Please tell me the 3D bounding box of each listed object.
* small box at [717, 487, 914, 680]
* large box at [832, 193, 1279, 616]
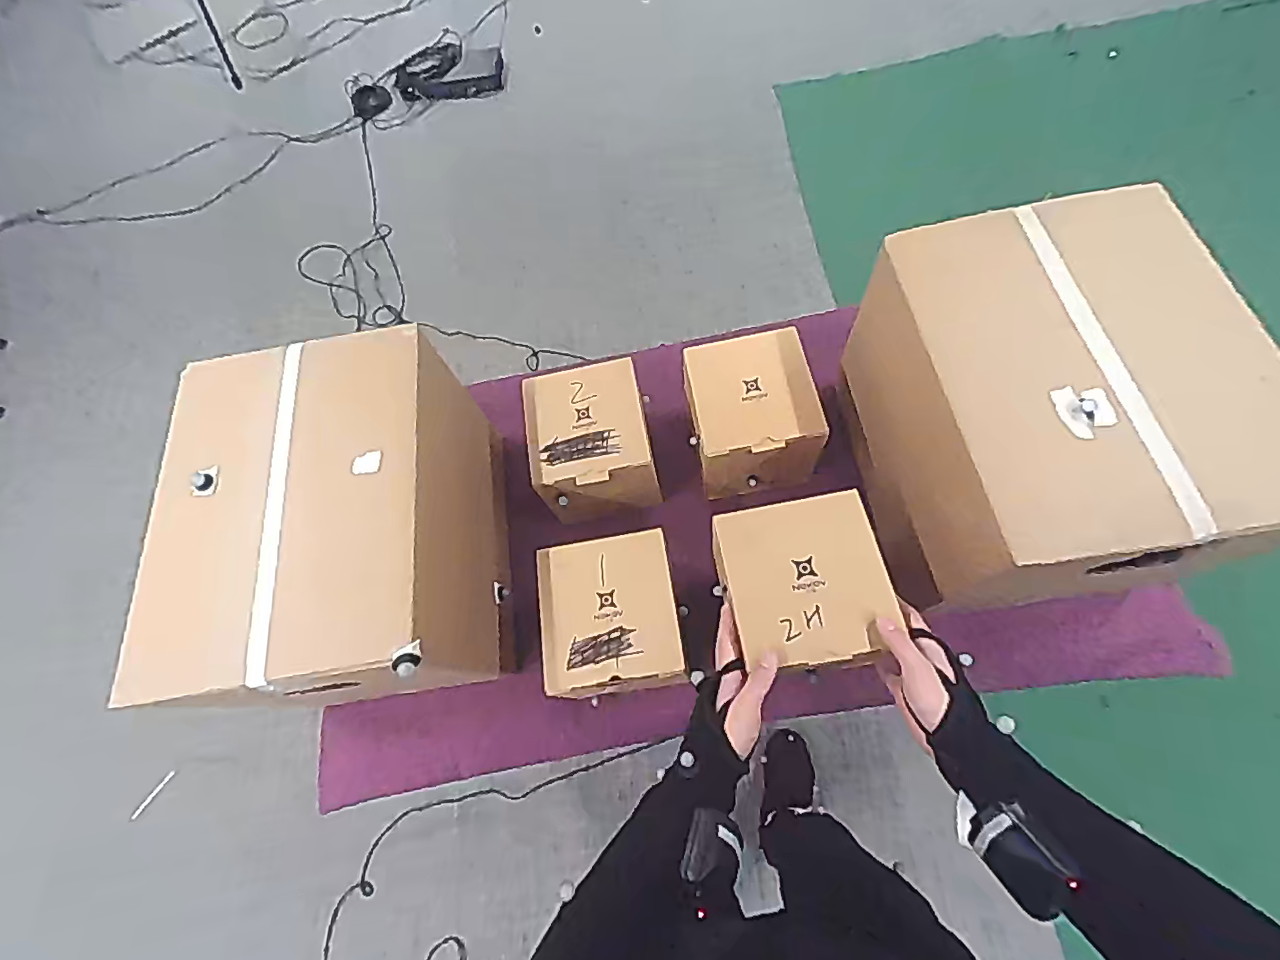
[{"bbox_3d":[0.188,0.131,0.644,0.168,0.176,0.179,-11,65,3],"label":"small box"},{"bbox_3d":[0.478,-0.070,0.685,0.320,0.320,0.408,-10,67,4],"label":"large box"}]
